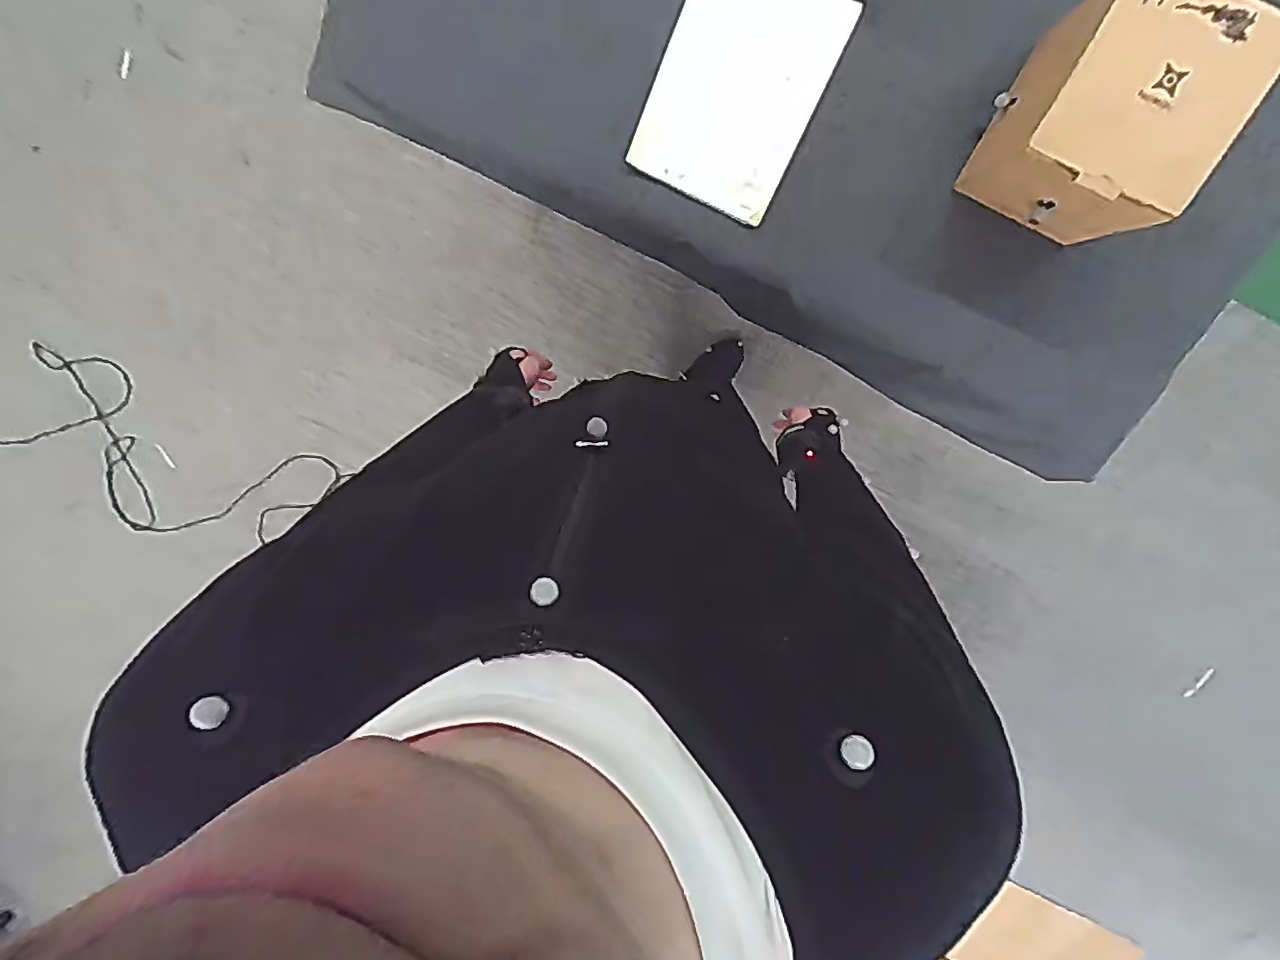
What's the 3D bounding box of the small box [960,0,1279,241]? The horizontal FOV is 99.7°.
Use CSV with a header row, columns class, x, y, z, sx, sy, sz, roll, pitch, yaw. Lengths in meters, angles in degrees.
class,x,y,z,sx,sy,sz,roll,pitch,yaw
small box,0.489,-0.384,0.590,0.168,0.176,0.179,26,108,-1
